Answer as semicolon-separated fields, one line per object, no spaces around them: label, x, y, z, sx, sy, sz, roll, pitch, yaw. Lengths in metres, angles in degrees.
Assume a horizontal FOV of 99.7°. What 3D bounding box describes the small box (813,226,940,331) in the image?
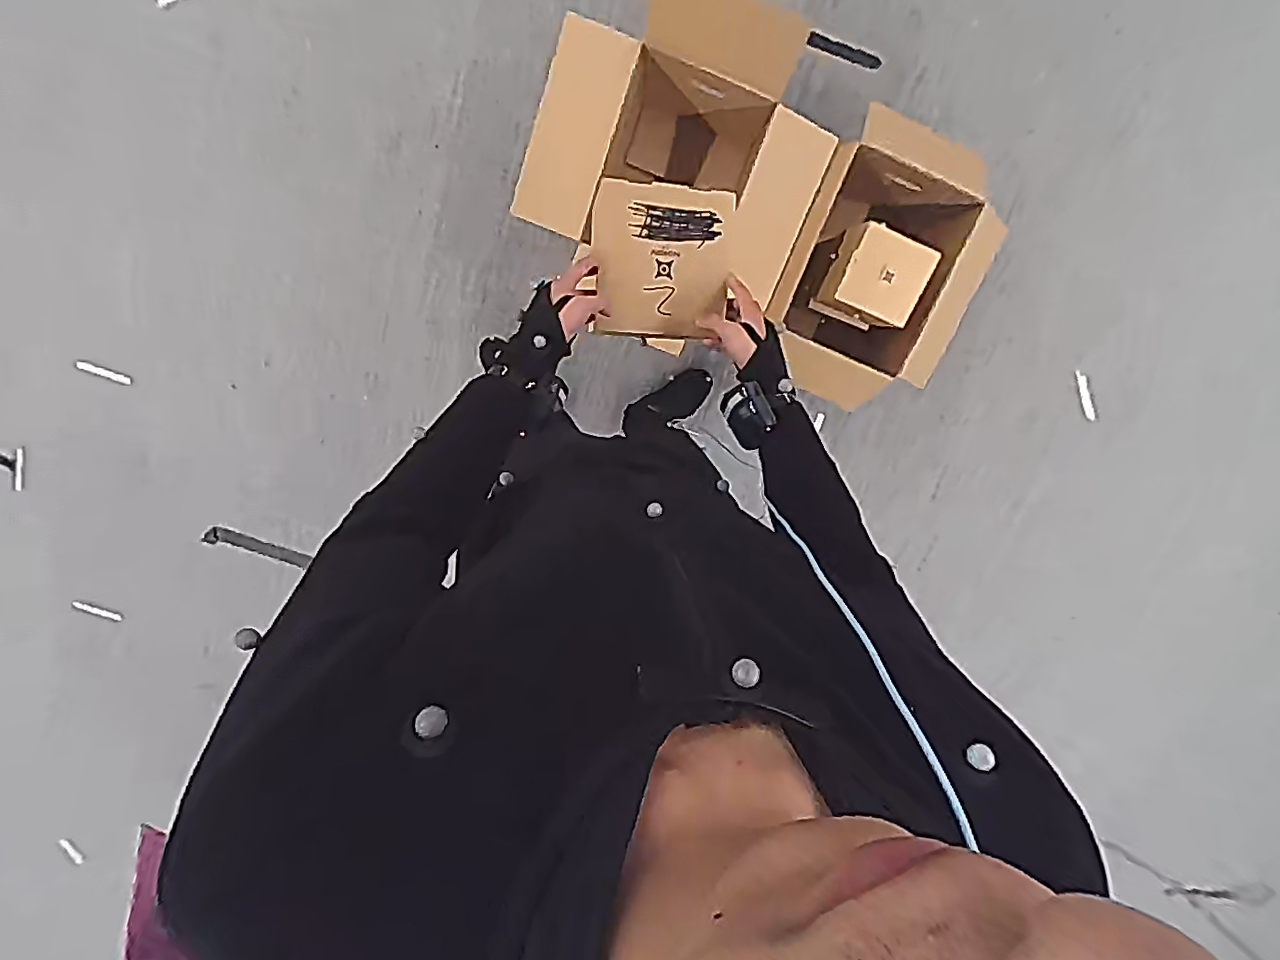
small box;0.528;-0.456;1.234;0.179;0.176;0.168;21;107;-6
